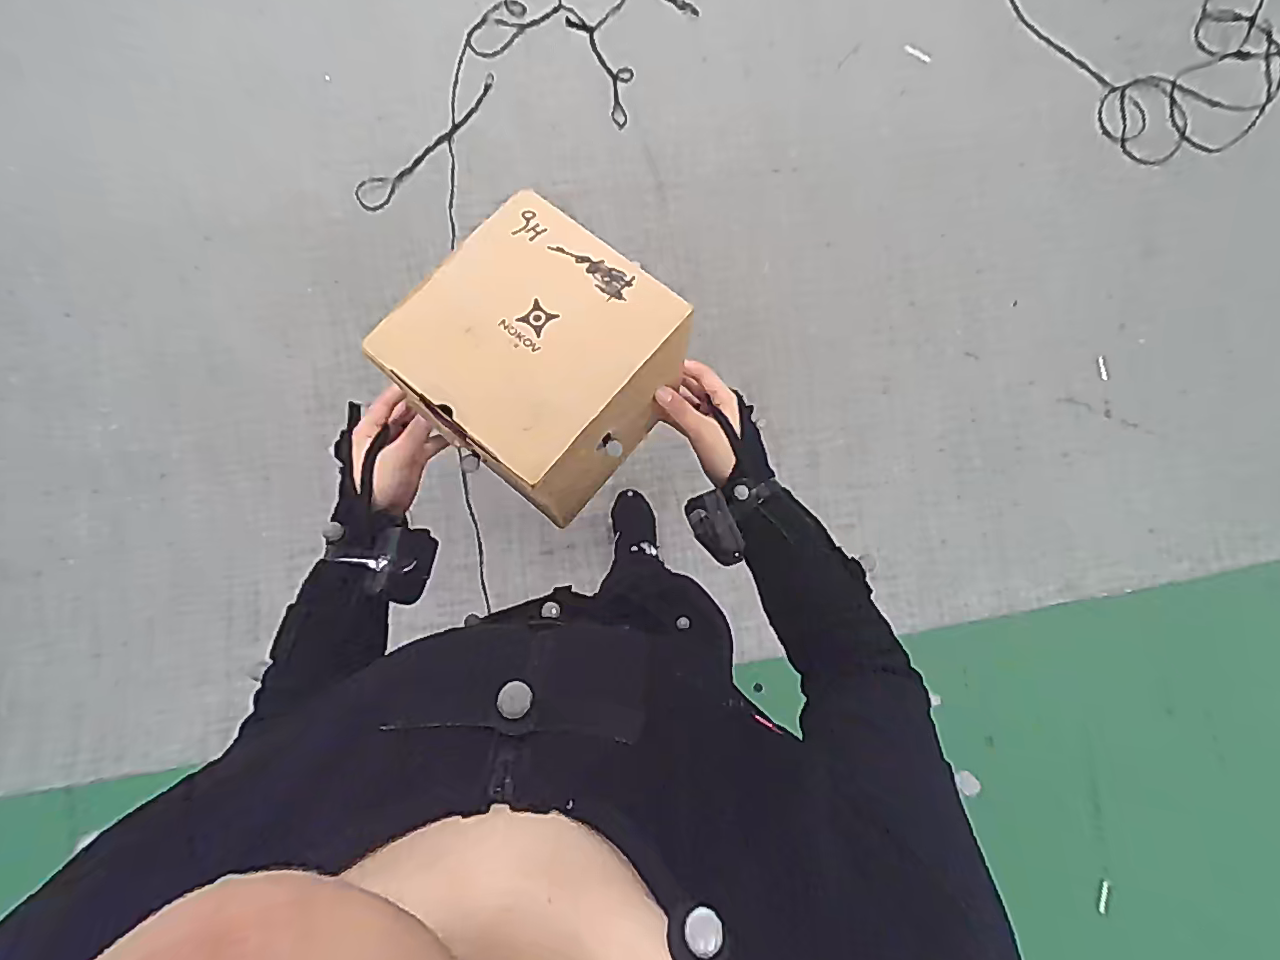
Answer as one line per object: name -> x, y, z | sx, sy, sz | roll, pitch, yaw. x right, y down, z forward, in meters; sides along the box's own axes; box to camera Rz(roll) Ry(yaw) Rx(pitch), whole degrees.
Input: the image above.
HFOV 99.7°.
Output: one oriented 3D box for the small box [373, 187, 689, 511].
small box -> -0.076, -0.094, 0.467 | 0.168, 0.176, 0.179 | 38, 79, 9
